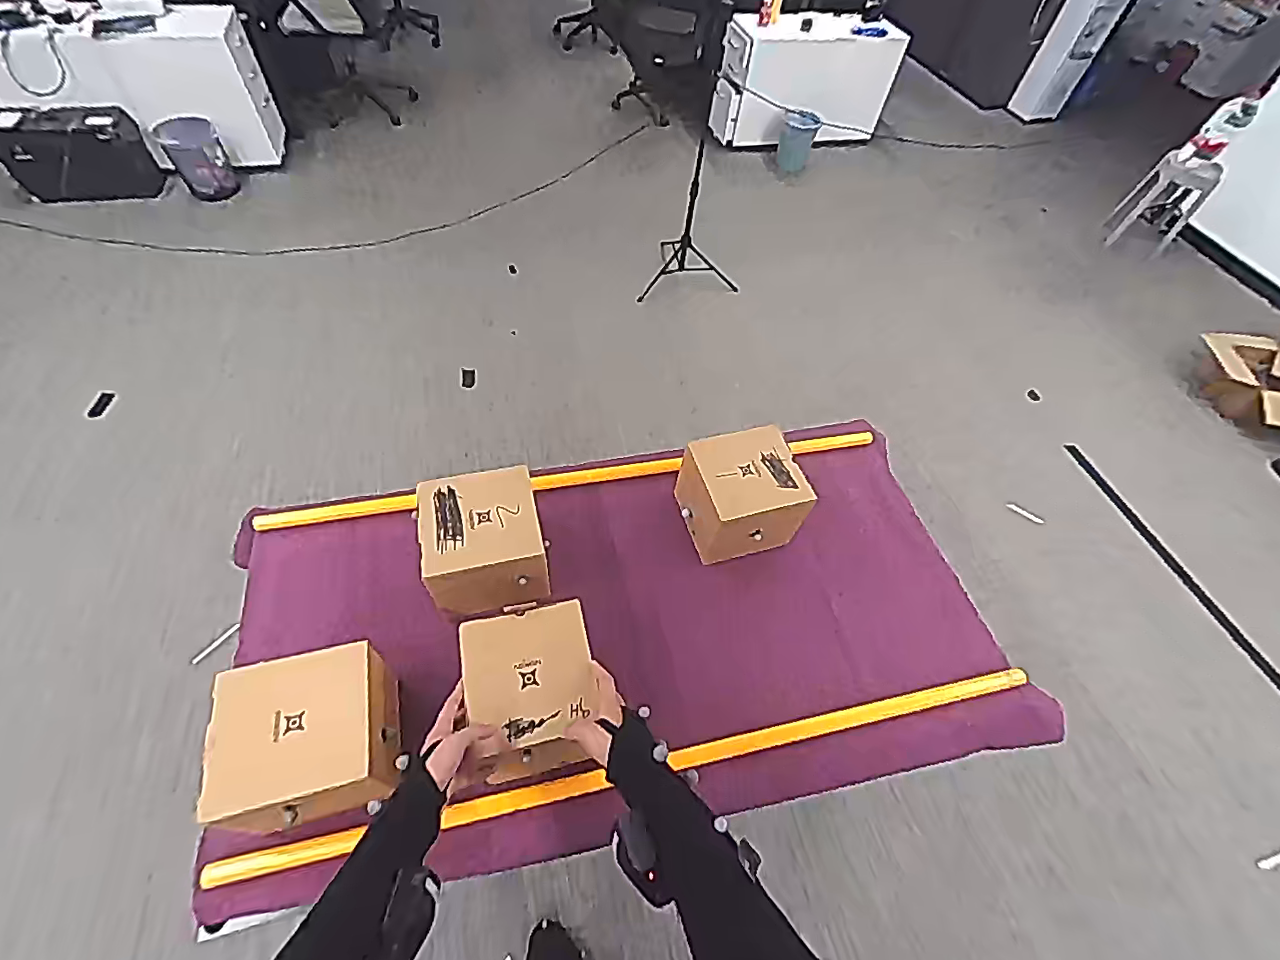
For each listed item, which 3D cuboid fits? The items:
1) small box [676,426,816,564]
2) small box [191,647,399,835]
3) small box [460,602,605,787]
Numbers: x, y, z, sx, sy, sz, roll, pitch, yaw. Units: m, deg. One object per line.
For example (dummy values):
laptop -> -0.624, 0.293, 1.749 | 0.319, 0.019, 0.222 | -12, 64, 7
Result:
small box -> 0.177, 0.030, 0.966 | 0.179, 0.176, 0.168 | -13, 58, -12
small box -> -0.419, 0.337, 0.696 | 0.179, 0.176, 0.168 | -10, 56, -13
small box -> -0.147, 0.297, 0.748 | 0.168, 0.176, 0.179 | -10, 53, -11
